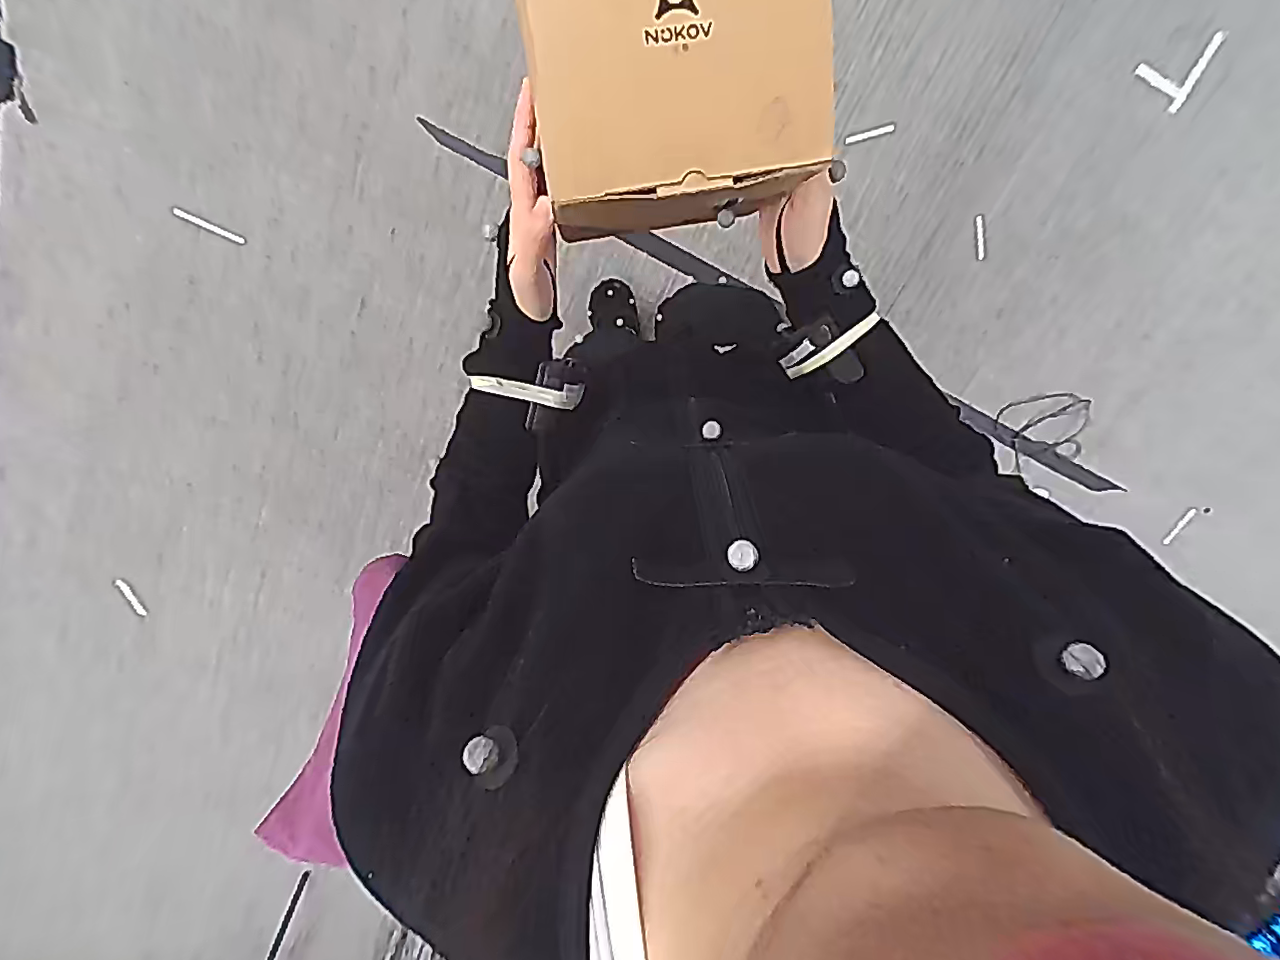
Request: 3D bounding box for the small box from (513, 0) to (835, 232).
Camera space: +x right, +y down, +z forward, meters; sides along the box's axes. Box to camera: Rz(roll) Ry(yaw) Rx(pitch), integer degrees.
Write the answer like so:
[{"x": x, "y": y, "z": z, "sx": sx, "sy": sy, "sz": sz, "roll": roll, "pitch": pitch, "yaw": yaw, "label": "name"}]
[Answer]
[{"x": 0.011, "y": -0.272, "z": 0.354, "sx": 0.168, "sy": 0.176, "sz": 0.179, "roll": -11, "pitch": 107, "yaw": -3, "label": "small box"}]
